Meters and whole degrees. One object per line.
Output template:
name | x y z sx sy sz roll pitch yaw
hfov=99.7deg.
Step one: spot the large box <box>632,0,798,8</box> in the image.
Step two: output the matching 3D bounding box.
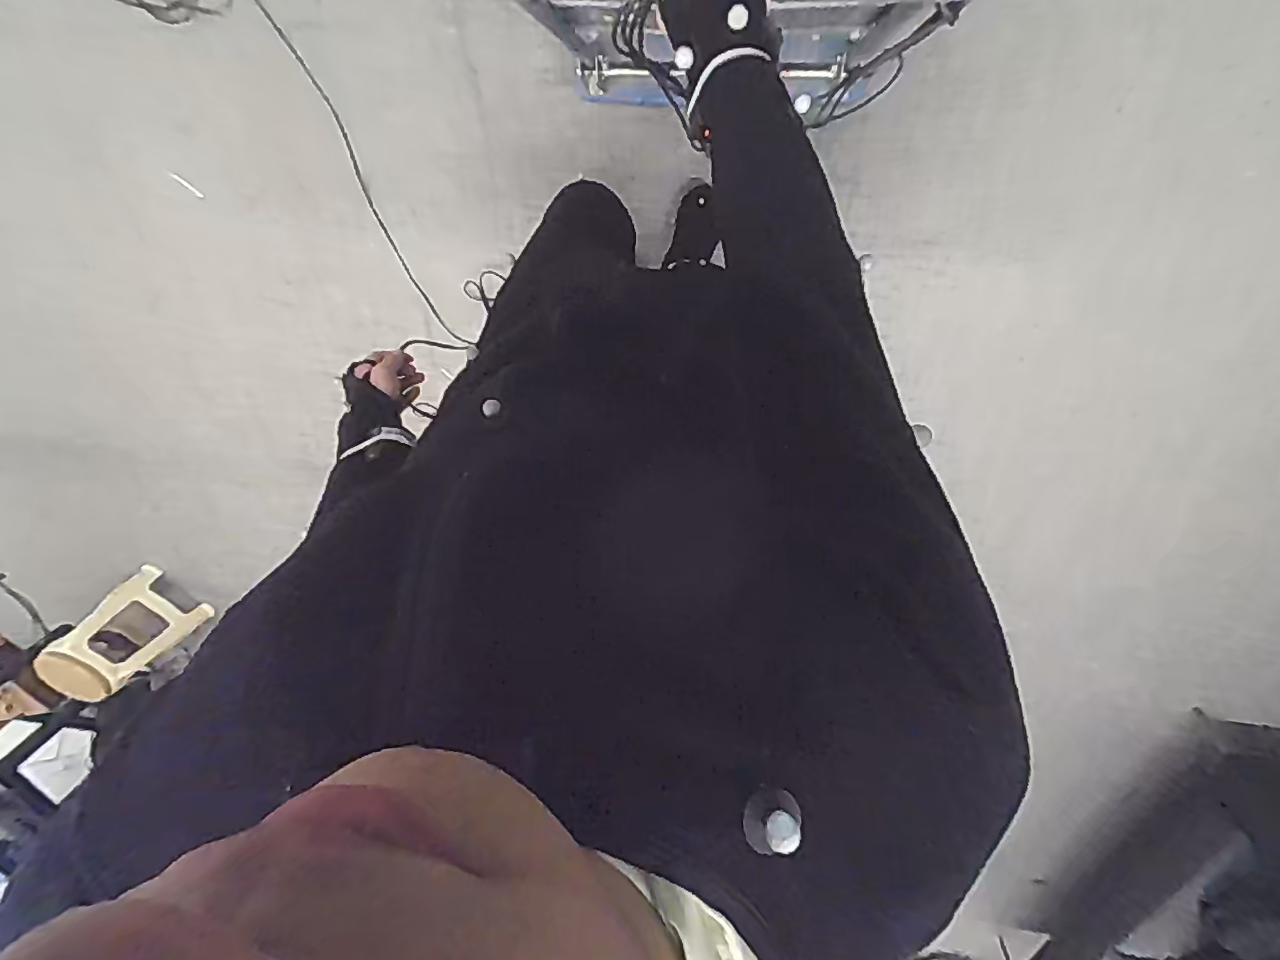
large box | 0.118 -0.957 0.759 0.320 0.320 0.408 8 122 5
